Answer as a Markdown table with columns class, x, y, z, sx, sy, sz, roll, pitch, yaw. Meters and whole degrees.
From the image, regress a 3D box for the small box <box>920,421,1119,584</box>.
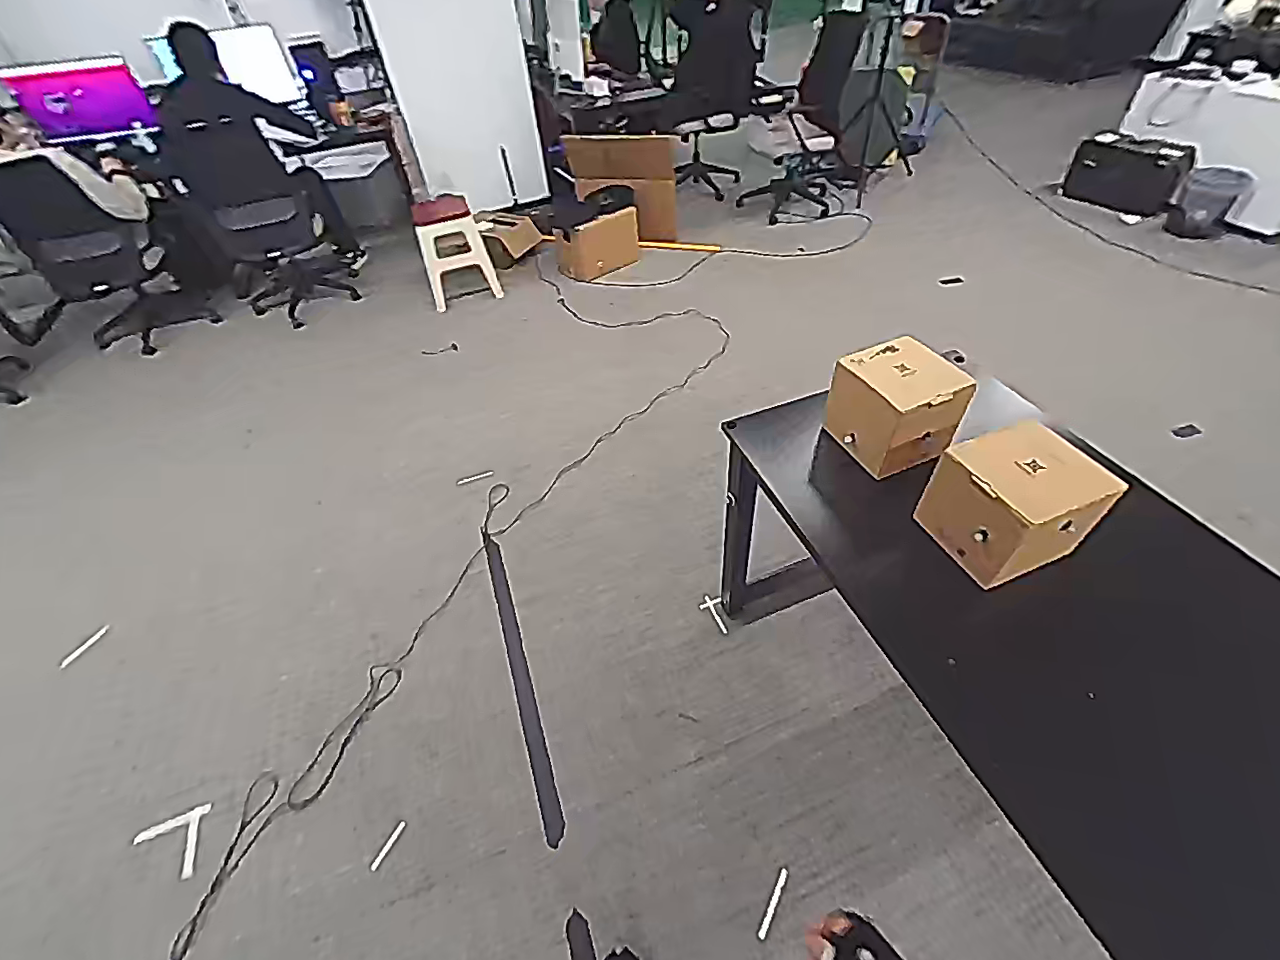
| class | x | y | z | sx | sy | sz | roll | pitch | yaw |
| --- | --- | --- | --- | --- | --- | --- | --- | --- | --- |
| small box | 0.578 | 0.039 | 0.858 | 0.179 | 0.176 | 0.168 | -18 | 49 | -13 |

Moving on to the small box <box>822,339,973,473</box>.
| class | x | y | z | sx | sy | sz | roll | pitch | yaw |
| --- | --- | --- | --- | --- | --- | --- | --- | --- | --- |
| small box | 0.475 | -0.133 | 1.027 | 0.168 | 0.176 | 0.179 | -20 | 49 | -13 |
